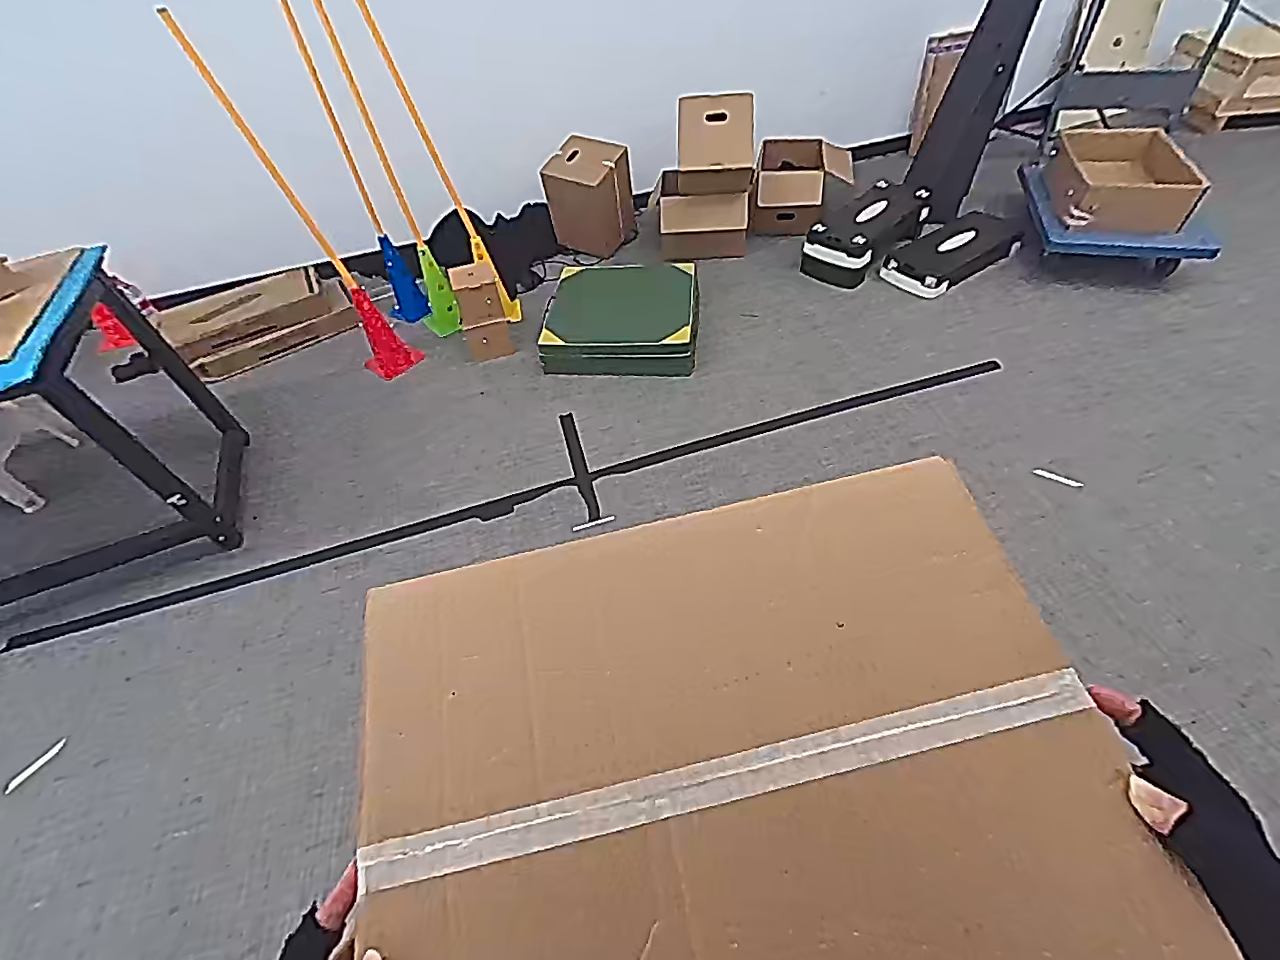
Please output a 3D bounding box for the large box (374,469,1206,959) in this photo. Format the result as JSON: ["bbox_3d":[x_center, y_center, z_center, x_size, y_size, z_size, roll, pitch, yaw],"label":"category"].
[{"bbox_3d":[0.061,0.236,0.437,0.408,0.320,0.320,-13,60,-1],"label":"large box"}]
